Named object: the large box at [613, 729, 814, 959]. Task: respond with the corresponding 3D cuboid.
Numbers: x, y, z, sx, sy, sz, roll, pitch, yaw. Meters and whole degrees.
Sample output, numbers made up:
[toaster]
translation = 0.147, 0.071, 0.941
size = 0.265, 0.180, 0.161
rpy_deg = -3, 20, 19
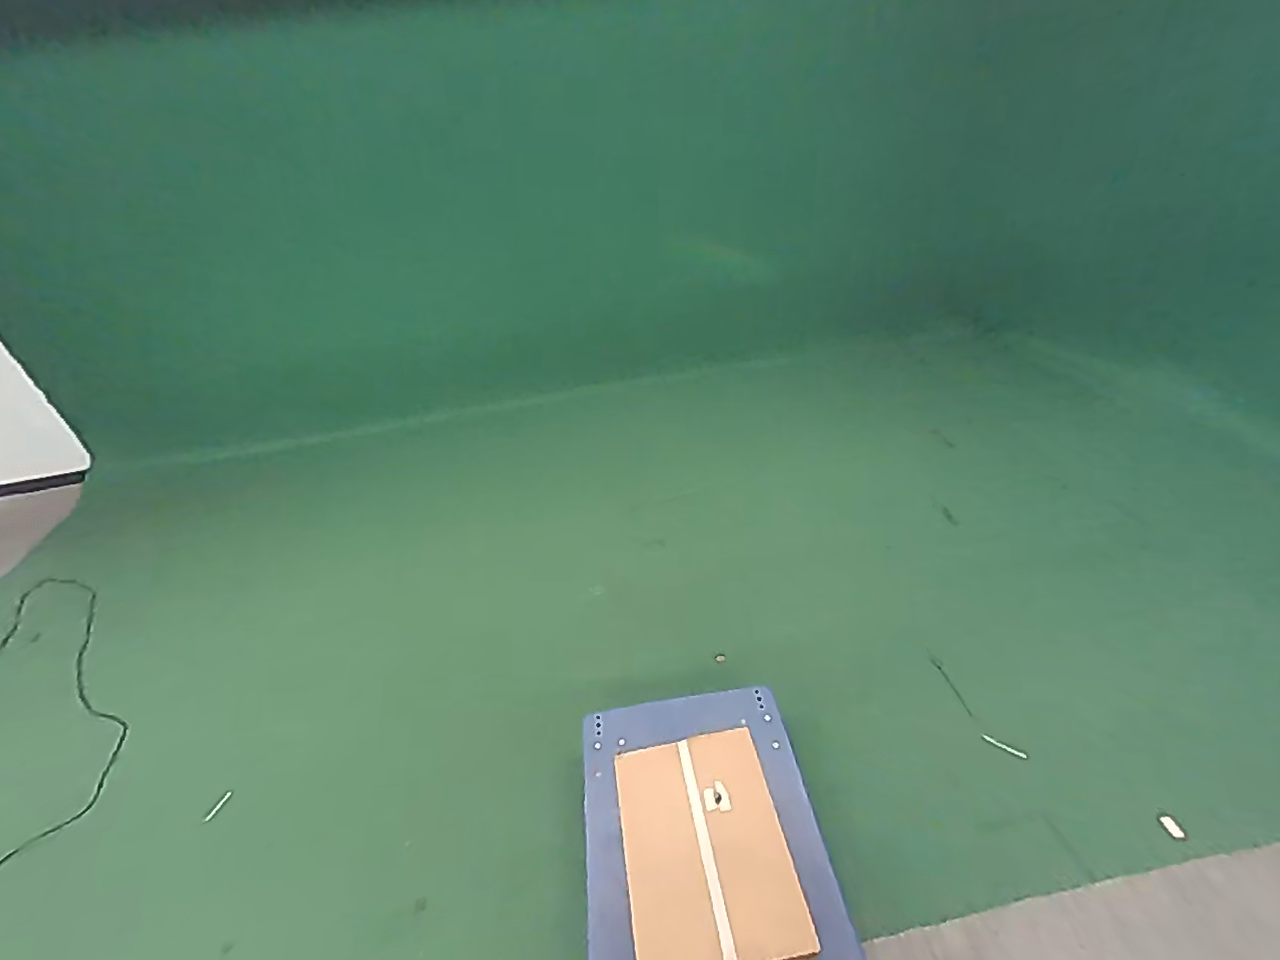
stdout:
[large box]
translation = 0.138, 0.830, 1.155
size = 0.320, 0.320, 0.408
rpy_deg = -10, 36, -3
